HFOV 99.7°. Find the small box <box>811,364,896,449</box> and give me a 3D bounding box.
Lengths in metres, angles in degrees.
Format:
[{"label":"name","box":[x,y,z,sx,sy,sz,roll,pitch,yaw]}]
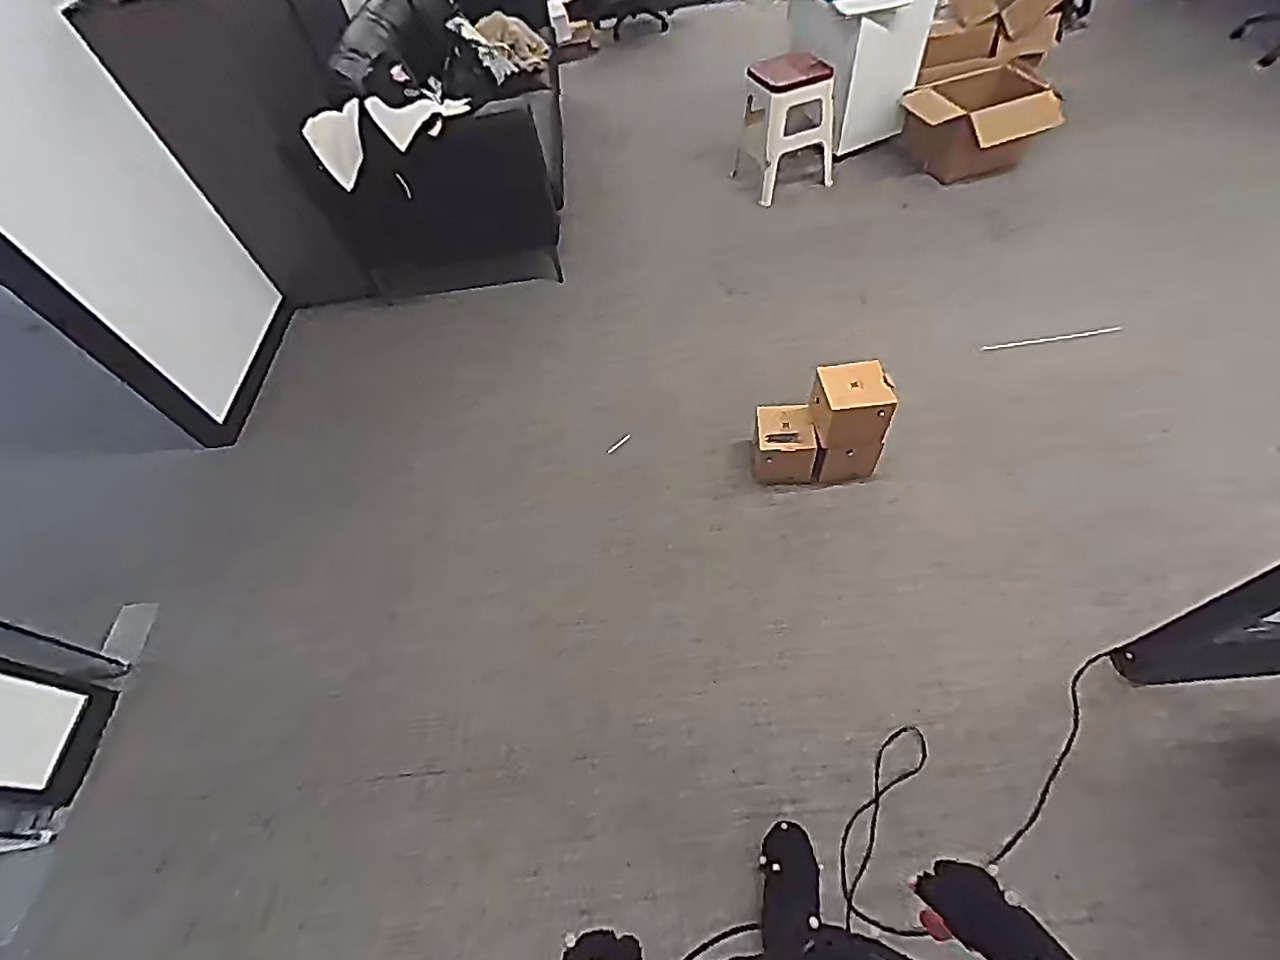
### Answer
[{"label":"small box","box":[0.597,-0.203,1.541,0.179,0.176,0.168,-7,54,2]}]
